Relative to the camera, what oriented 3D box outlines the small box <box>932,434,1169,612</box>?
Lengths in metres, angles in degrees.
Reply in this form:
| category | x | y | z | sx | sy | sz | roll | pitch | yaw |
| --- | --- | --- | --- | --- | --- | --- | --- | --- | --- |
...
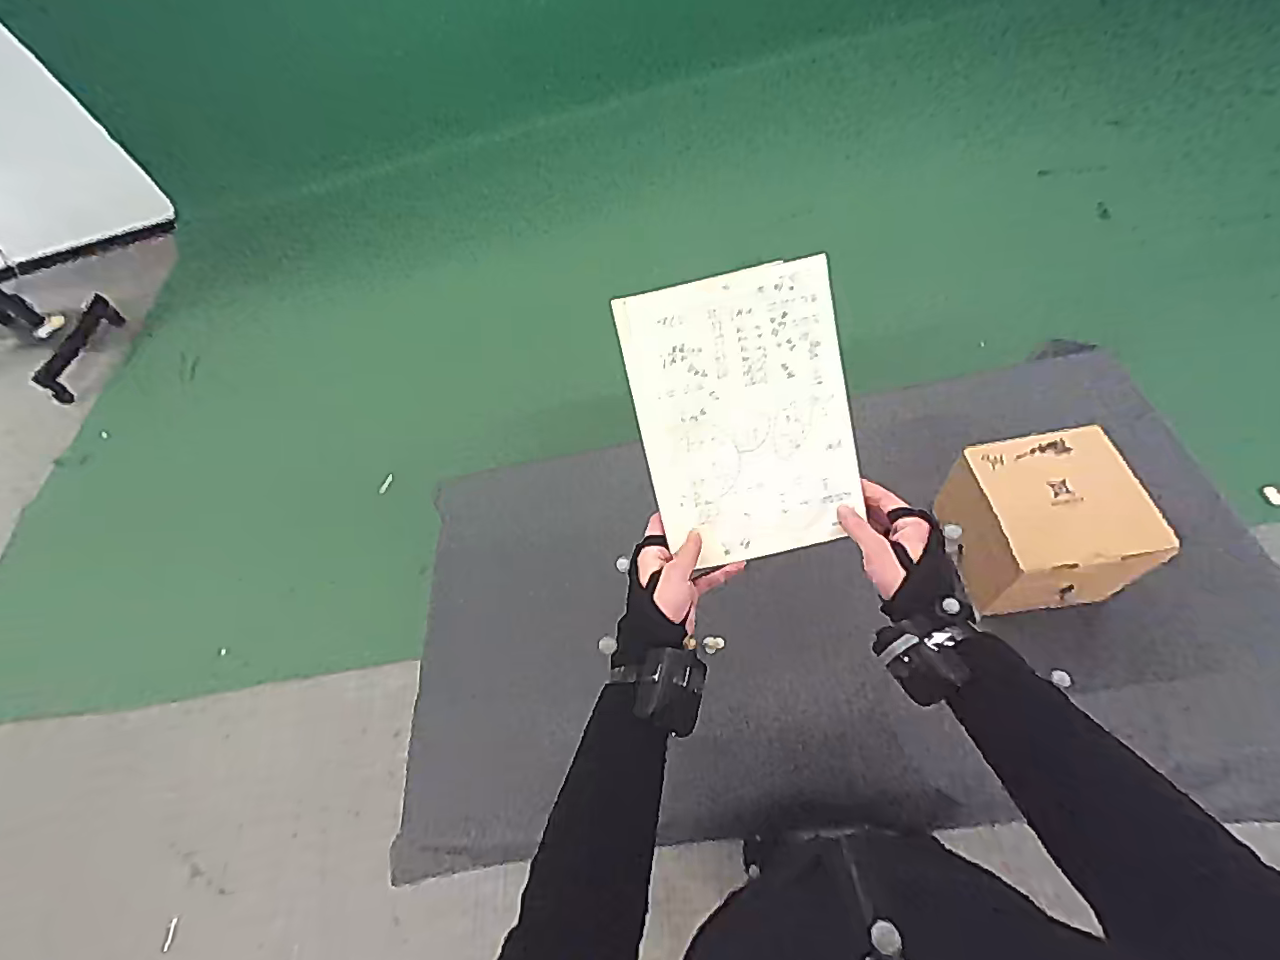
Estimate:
| category | x | y | z | sx | sy | sz | roll | pitch | yaw |
| --- | --- | --- | --- | --- | --- | --- | --- | --- | --- |
| small box | 0.518 | 0.067 | 0.718 | 0.168 | 0.176 | 0.179 | -10 | 59 | 7 |
